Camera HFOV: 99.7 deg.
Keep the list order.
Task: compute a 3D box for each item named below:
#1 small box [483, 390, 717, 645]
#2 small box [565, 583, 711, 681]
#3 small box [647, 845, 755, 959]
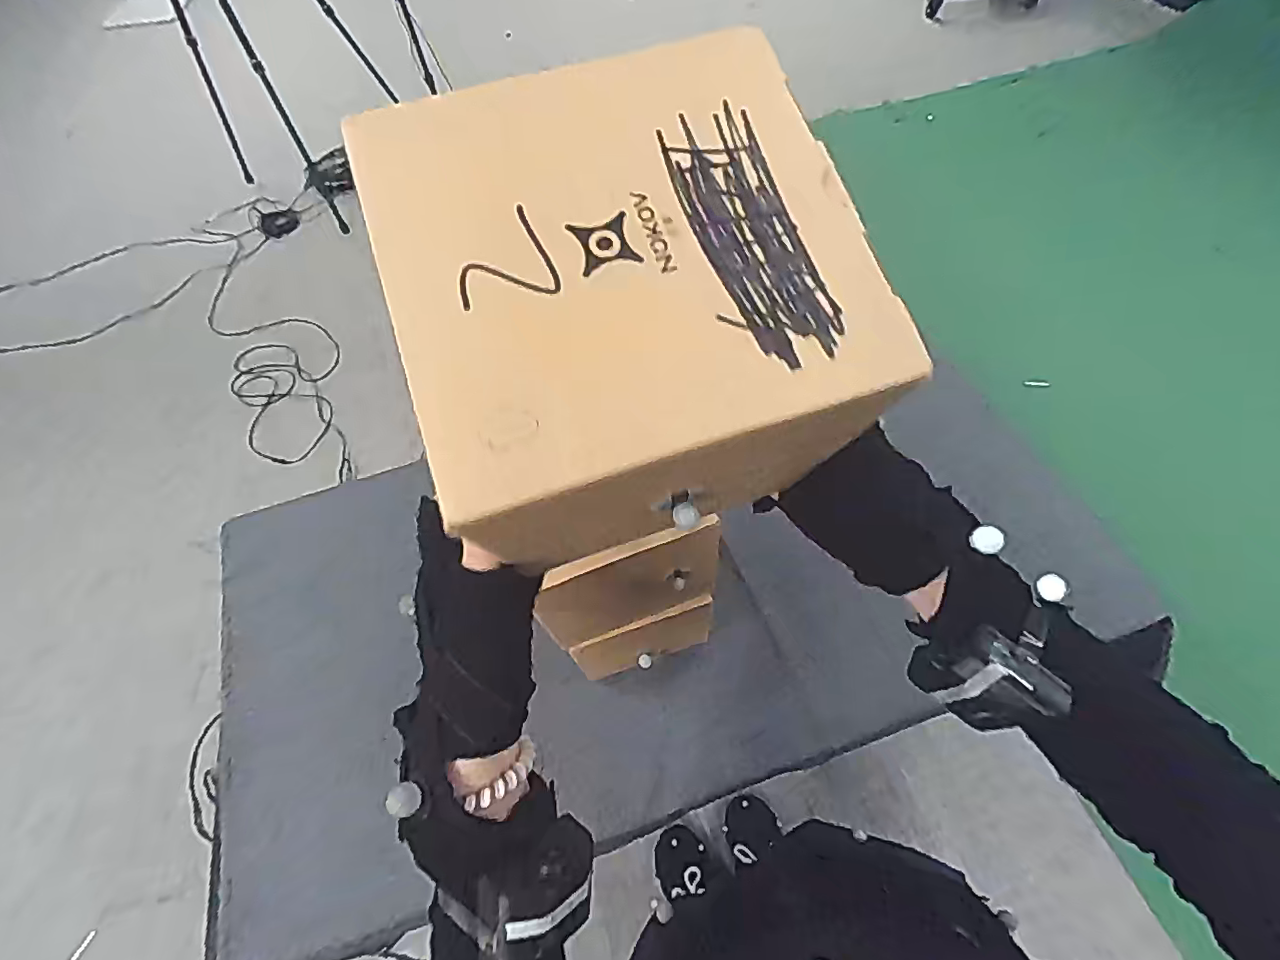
[{"bbox_3d":[-0.037,0.044,0.548,0.179,0.176,0.168,-19,58,-7],"label":"small box"},{"bbox_3d":[-0.020,0.131,0.685,0.168,0.176,0.179,-17,59,-5],"label":"small box"},{"bbox_3d":[0.125,0.869,1.094,0.179,0.176,0.168,1,68,25],"label":"small box"}]
